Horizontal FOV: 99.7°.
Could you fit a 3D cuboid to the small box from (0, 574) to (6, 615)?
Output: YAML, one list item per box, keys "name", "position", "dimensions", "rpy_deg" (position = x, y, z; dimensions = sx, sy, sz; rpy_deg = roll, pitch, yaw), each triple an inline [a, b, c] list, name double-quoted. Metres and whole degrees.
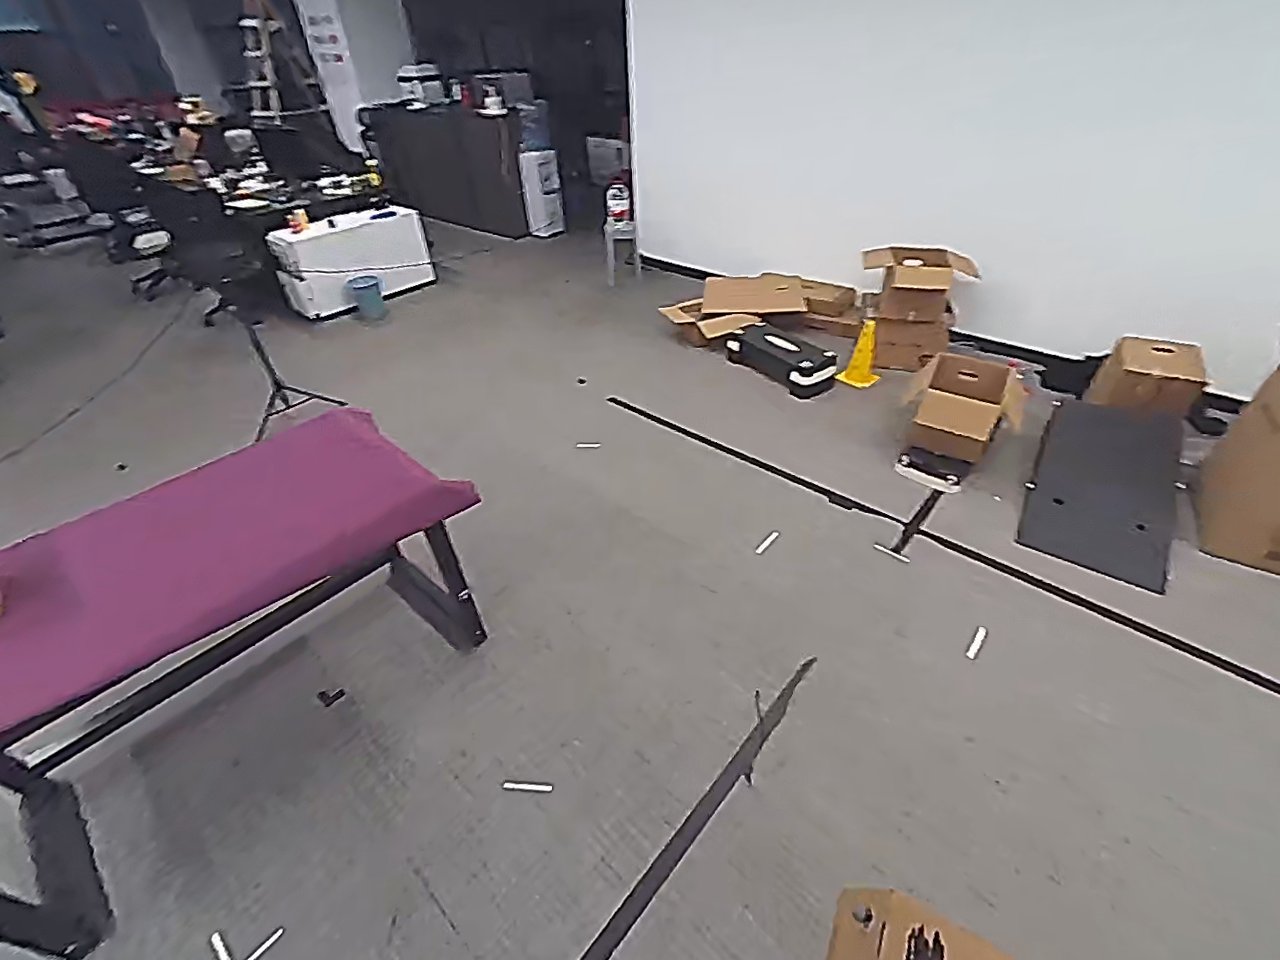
- name: "small box"
  position: [-1.476, 0.231, 1.112]
  dimensions: [0.168, 0.176, 0.179]
  rpy_deg: [-31, 47, -30]
